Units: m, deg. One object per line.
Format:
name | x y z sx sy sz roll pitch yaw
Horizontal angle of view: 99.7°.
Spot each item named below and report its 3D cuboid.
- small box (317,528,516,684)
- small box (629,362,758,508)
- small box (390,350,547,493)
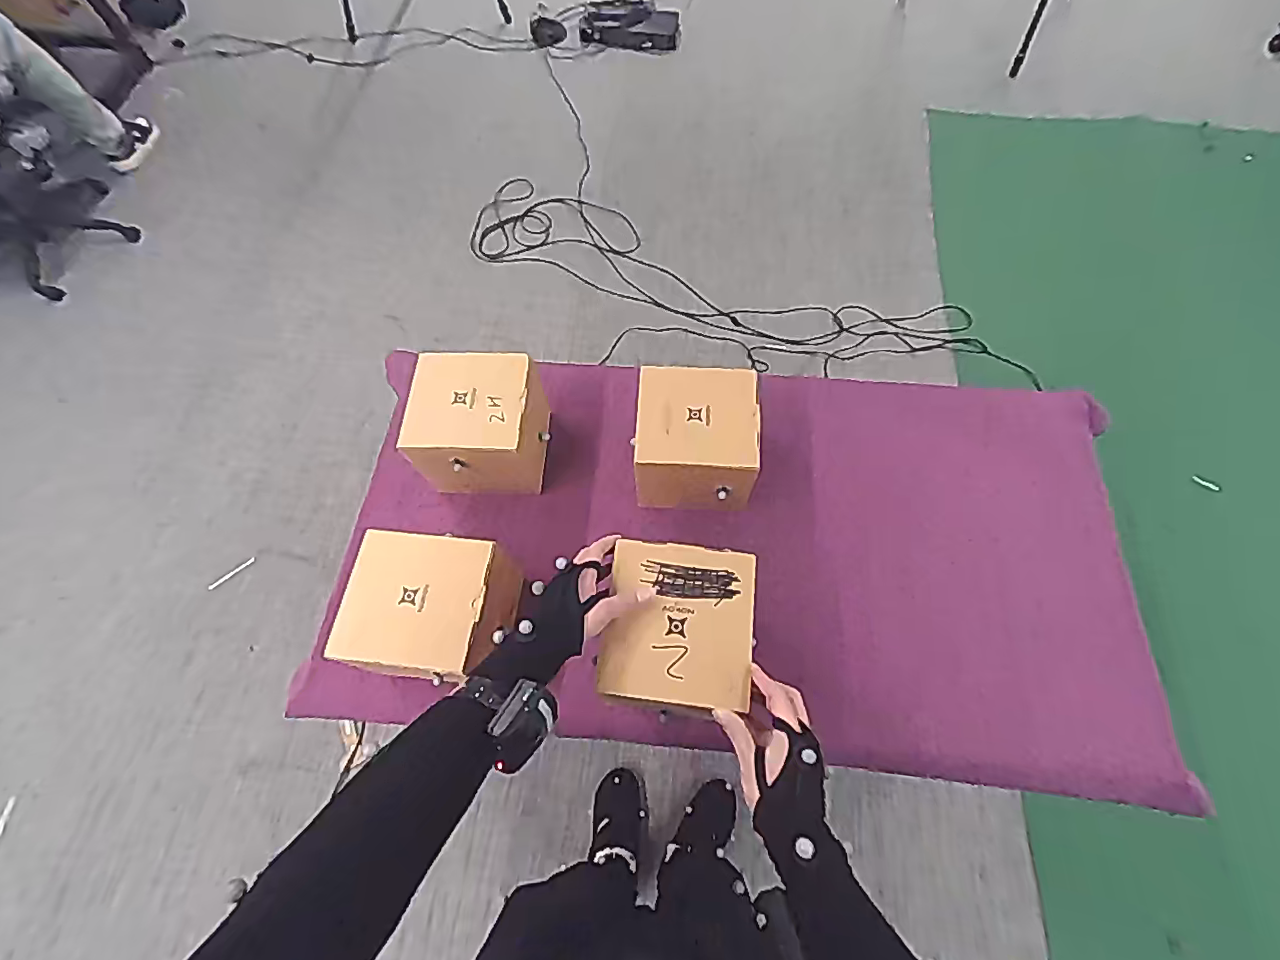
small box | -0.285 0.177 0.736 0.179 0.176 0.168 5 64 3
small box | 0.080 -0.062 0.835 0.179 0.176 0.168 3 65 4
small box | -0.257 -0.086 0.855 0.179 0.176 0.168 2 66 2
